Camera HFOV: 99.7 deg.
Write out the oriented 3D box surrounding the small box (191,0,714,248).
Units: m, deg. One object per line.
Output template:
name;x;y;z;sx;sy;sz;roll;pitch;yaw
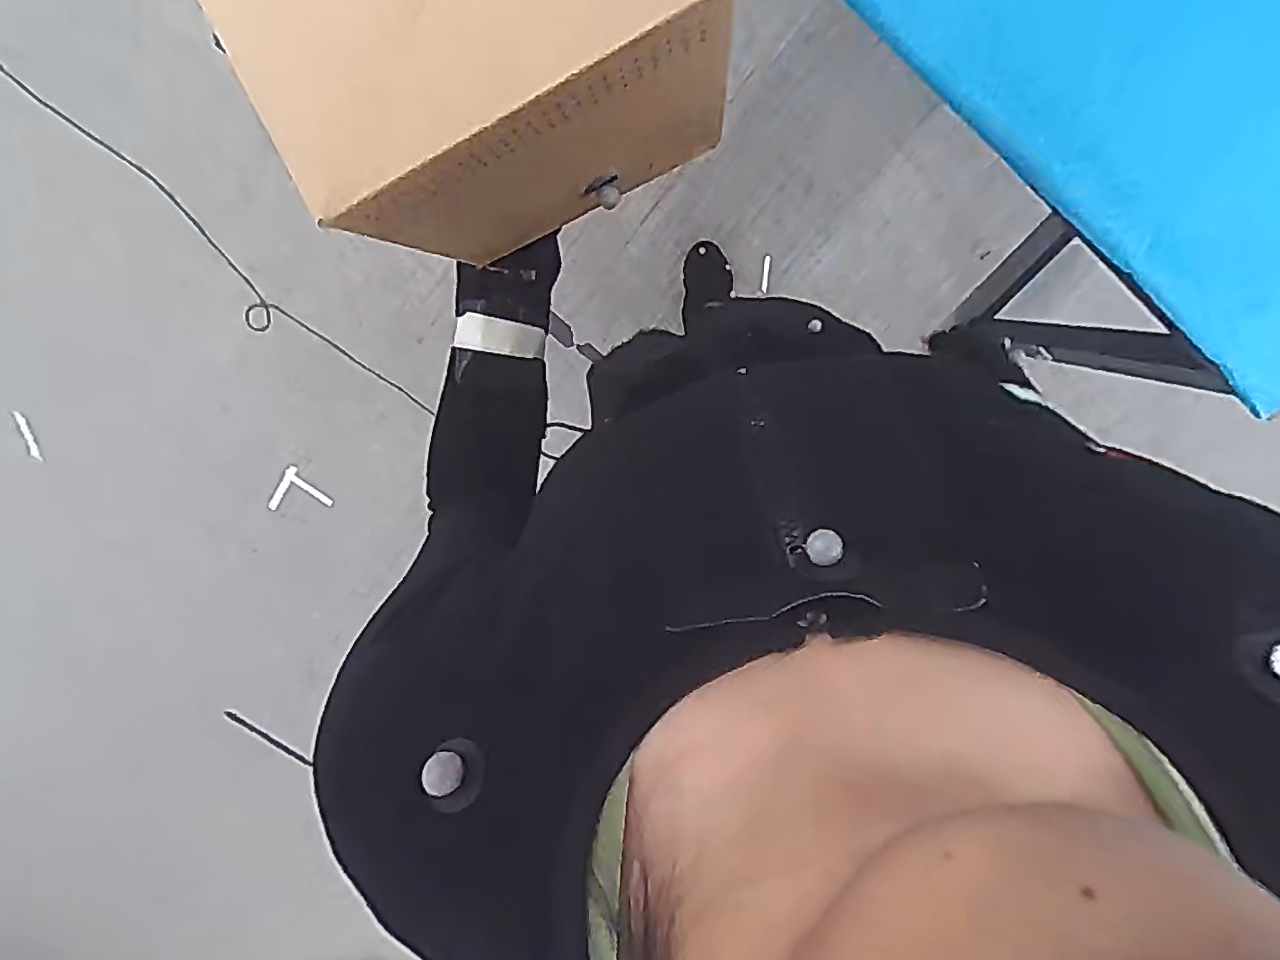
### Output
small box;-0.075;-0.230;0.248;0.179;0.176;0.168;-21;102;12
